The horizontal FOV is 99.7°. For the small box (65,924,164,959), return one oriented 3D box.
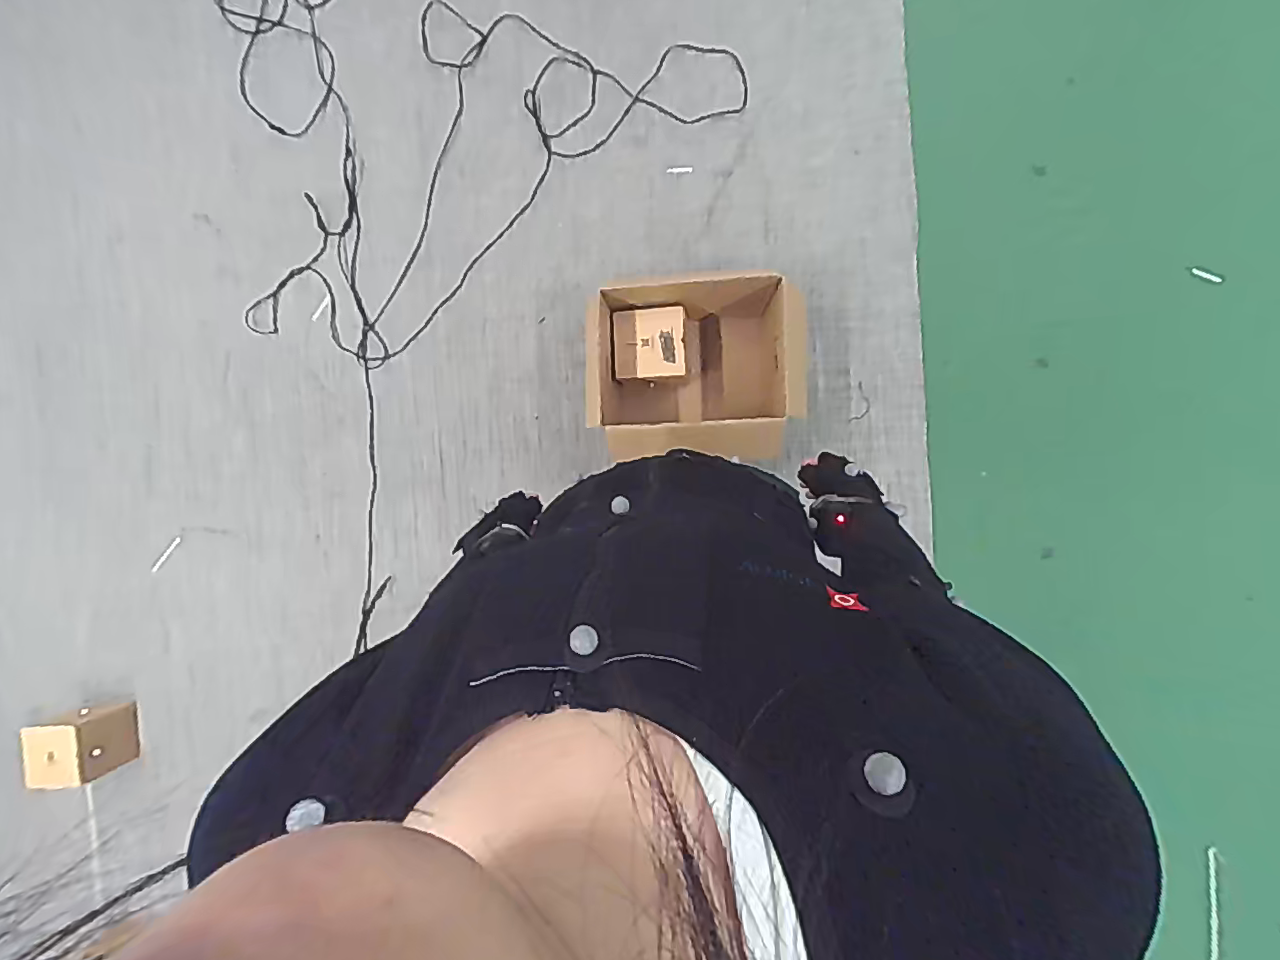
[{"bbox_3d":[-1.547,1.440,1.575,0.179,0.176,0.168,-4,92,5],"label":"small box"}]

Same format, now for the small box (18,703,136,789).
[{"bbox_3d":[-1.615,0.758,1.561,0.168,0.176,0.179,-4,92,4],"label":"small box"}]
